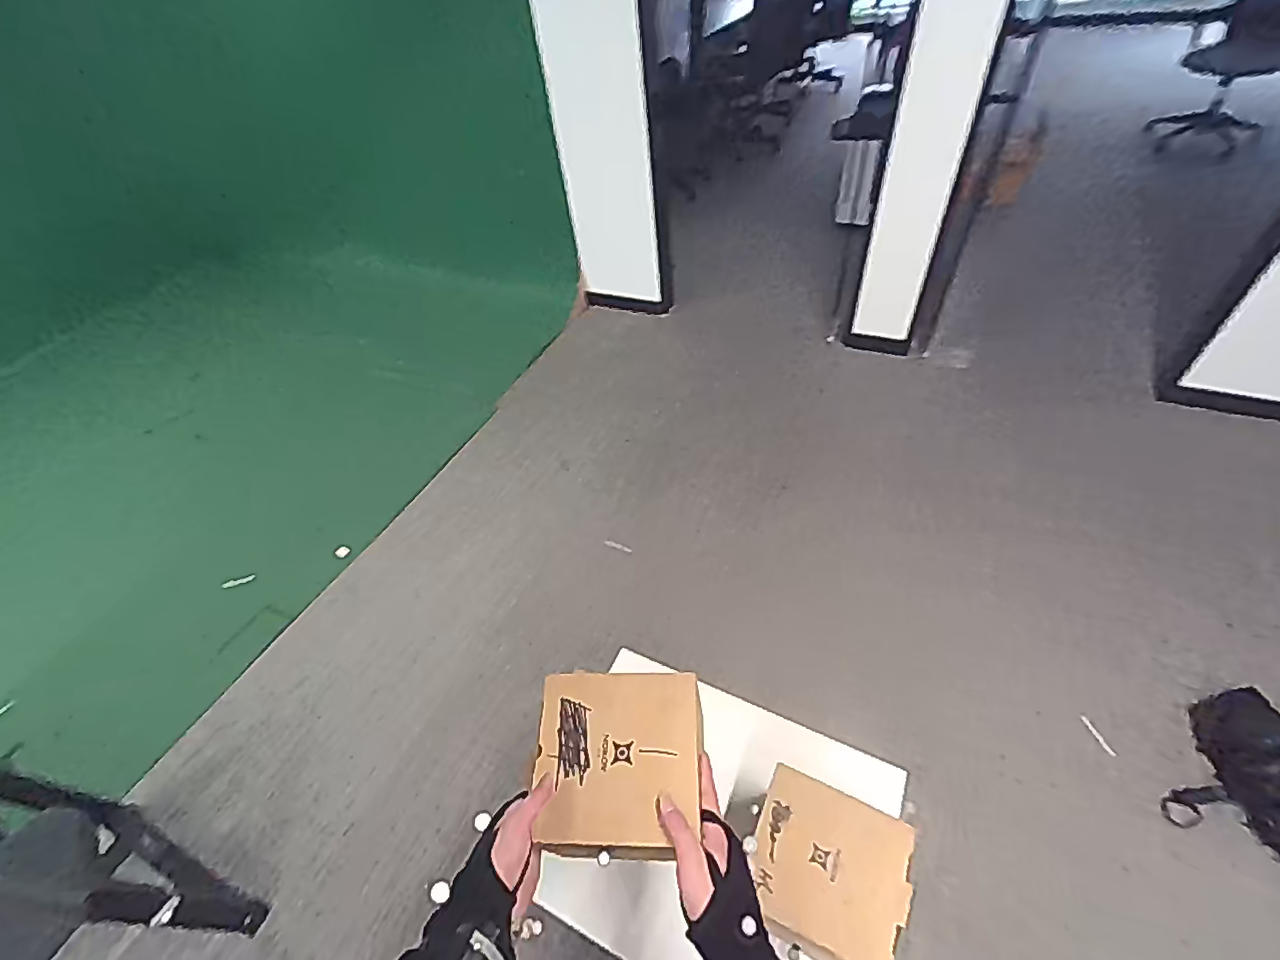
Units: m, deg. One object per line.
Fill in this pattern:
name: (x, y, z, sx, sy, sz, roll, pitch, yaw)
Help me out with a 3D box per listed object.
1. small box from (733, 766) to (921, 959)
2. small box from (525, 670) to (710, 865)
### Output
small box: (0.231, 0.508, 0.696, 0.179, 0.176, 0.168, 19, 51, 20)
small box: (-0.013, 0.325, 0.606, 0.179, 0.176, 0.168, -2, 51, 4)
